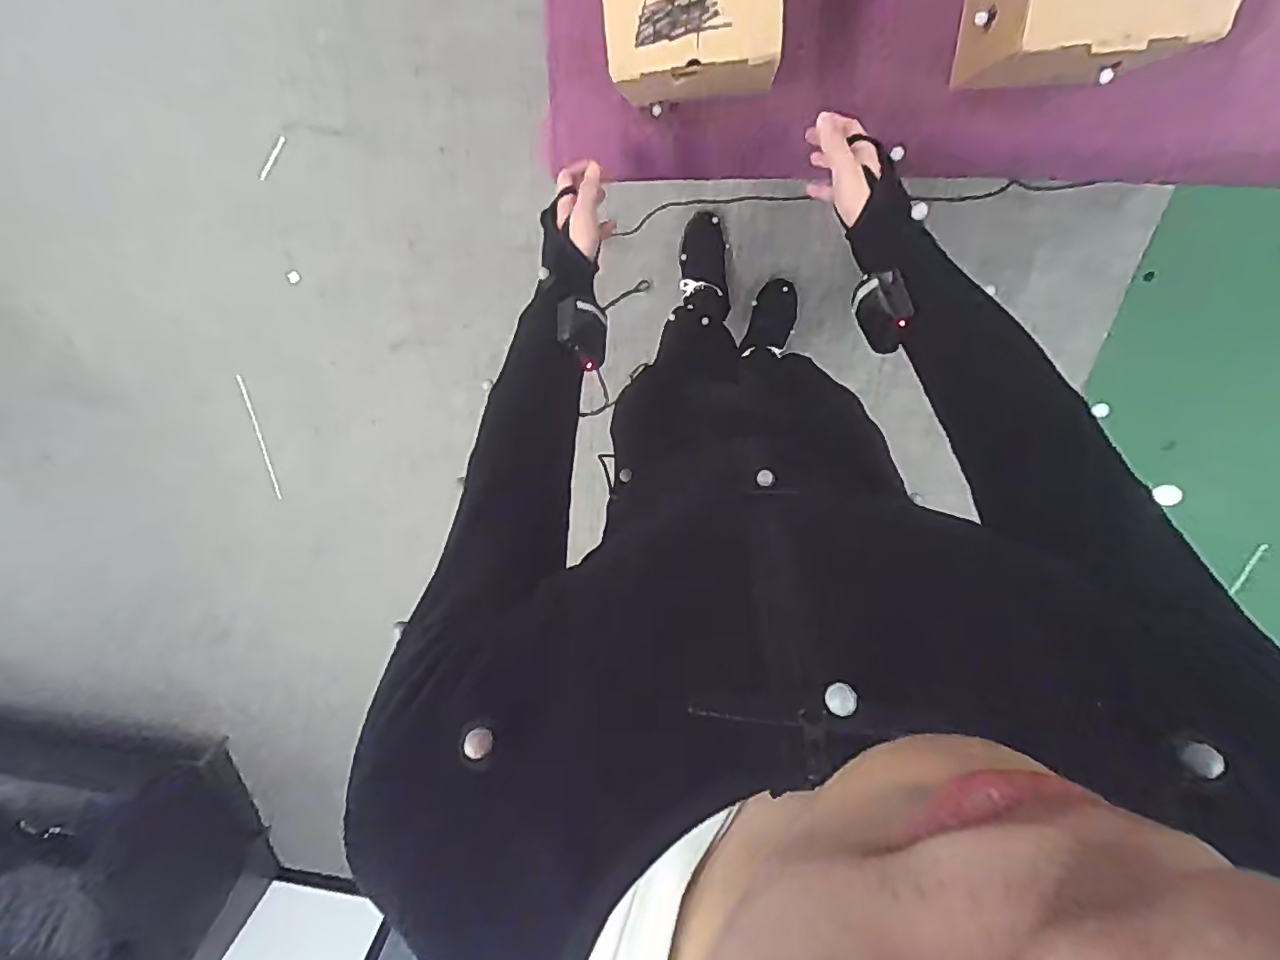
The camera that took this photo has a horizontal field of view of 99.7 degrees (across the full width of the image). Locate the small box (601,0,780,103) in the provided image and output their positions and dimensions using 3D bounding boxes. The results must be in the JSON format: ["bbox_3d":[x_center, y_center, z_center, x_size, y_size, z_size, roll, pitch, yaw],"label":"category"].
[{"bbox_3d":[0.054,-0.498,0.543,0.168,0.176,0.179,-1,116,9],"label":"small box"}]

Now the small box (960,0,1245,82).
[{"bbox_3d":[0.419,-0.482,0.491,0.168,0.176,0.179,2,117,8],"label":"small box"}]
